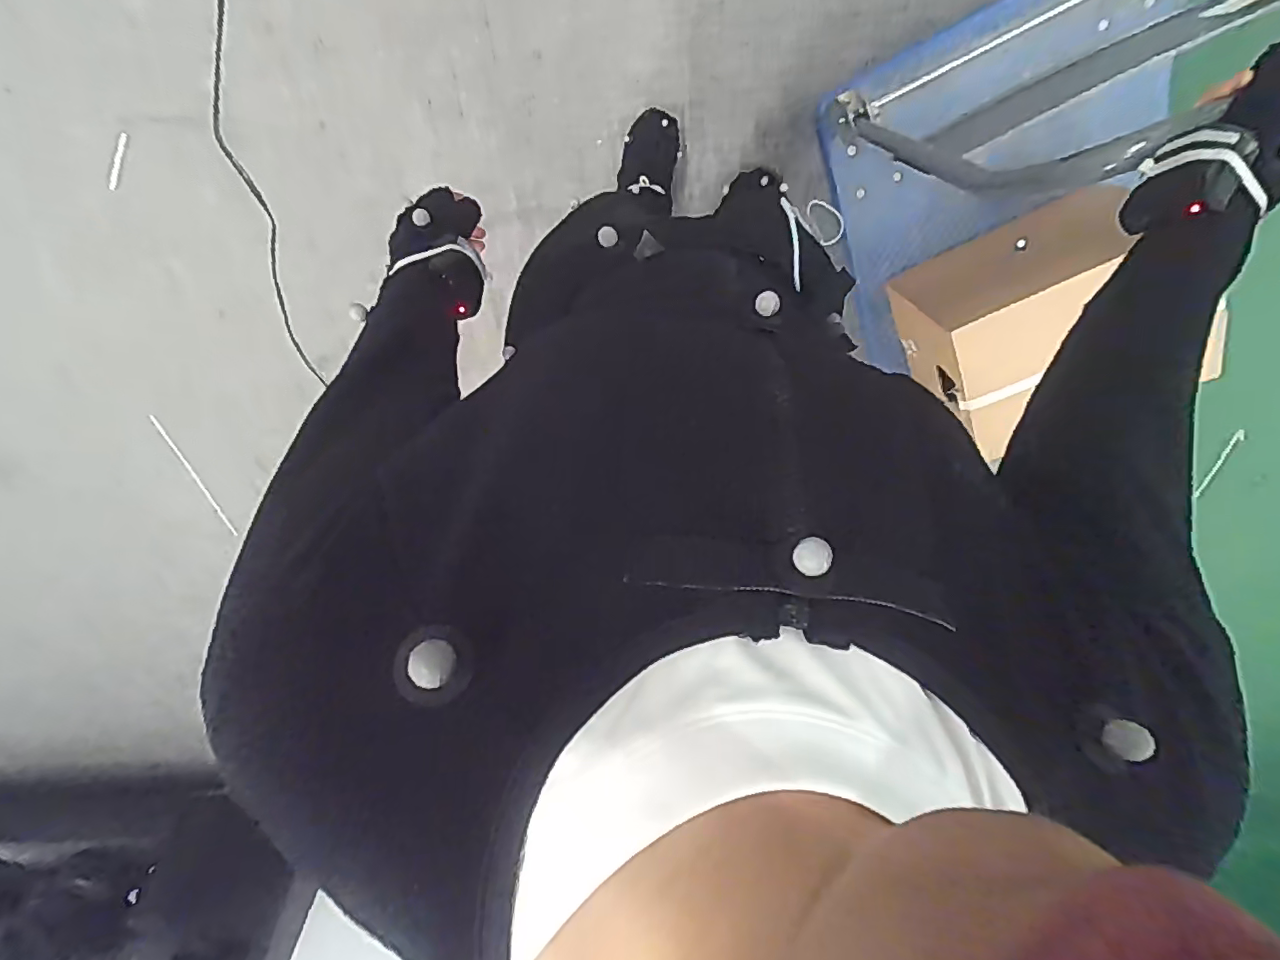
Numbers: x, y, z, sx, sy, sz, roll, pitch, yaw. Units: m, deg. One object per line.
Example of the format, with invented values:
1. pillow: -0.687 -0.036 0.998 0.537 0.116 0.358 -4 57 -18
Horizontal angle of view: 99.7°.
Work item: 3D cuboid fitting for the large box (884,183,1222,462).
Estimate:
1. large box: 0.763 -0.306 1.054 0.408 0.320 0.320 -25 123 16
